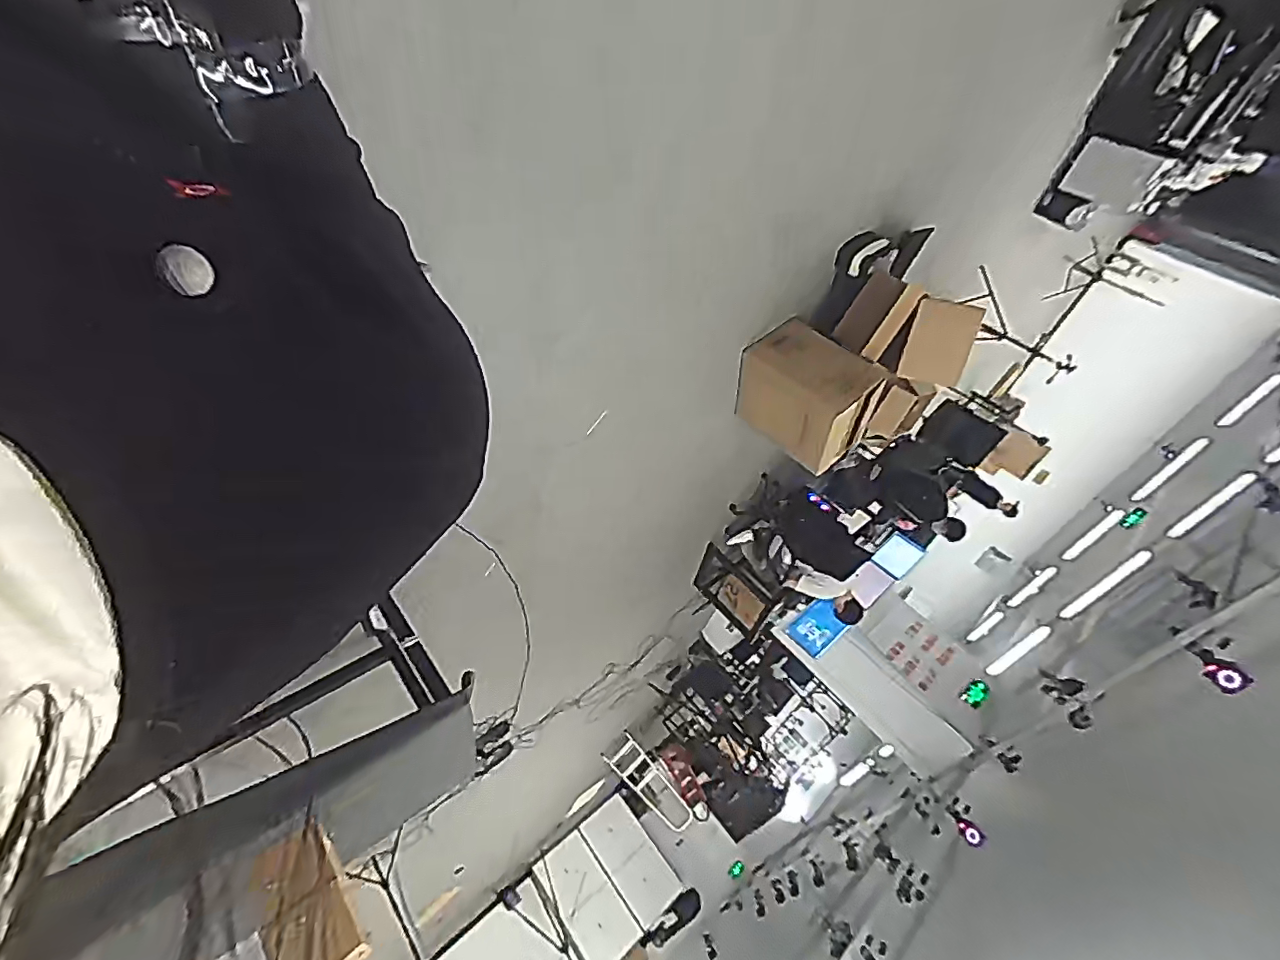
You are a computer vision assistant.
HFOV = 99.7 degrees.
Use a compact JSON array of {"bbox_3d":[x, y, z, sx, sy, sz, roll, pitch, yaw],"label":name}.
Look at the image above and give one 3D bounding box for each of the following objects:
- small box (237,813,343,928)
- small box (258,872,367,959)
[{"bbox_3d":[-0.905,1.011,1.397,0.179,0.176,0.168,-28,150,-34],"label":"small box"},{"bbox_3d":[-0.801,1.112,1.321,0.179,0.176,0.168,-25,148,-34],"label":"small box"}]
